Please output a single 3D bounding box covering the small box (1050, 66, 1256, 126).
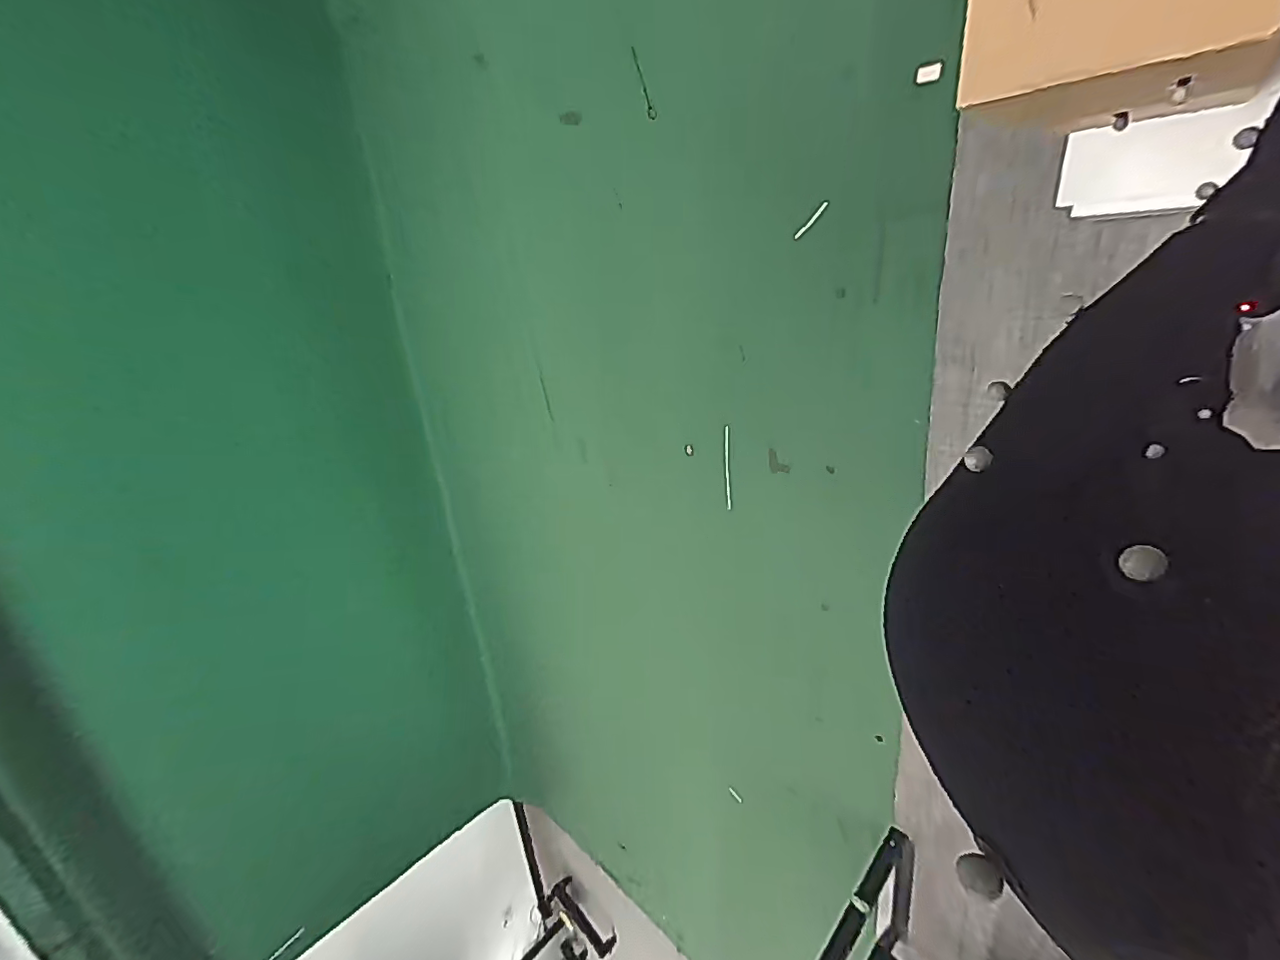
[{"bbox_3d":[0.480,-0.448,0.503,0.168,0.176,0.179,15,119,40],"label":"small box"}]

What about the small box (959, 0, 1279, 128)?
[{"bbox_3d":[0.369,-0.383,0.402,0.179,0.176,0.168,16,118,42],"label":"small box"}]
